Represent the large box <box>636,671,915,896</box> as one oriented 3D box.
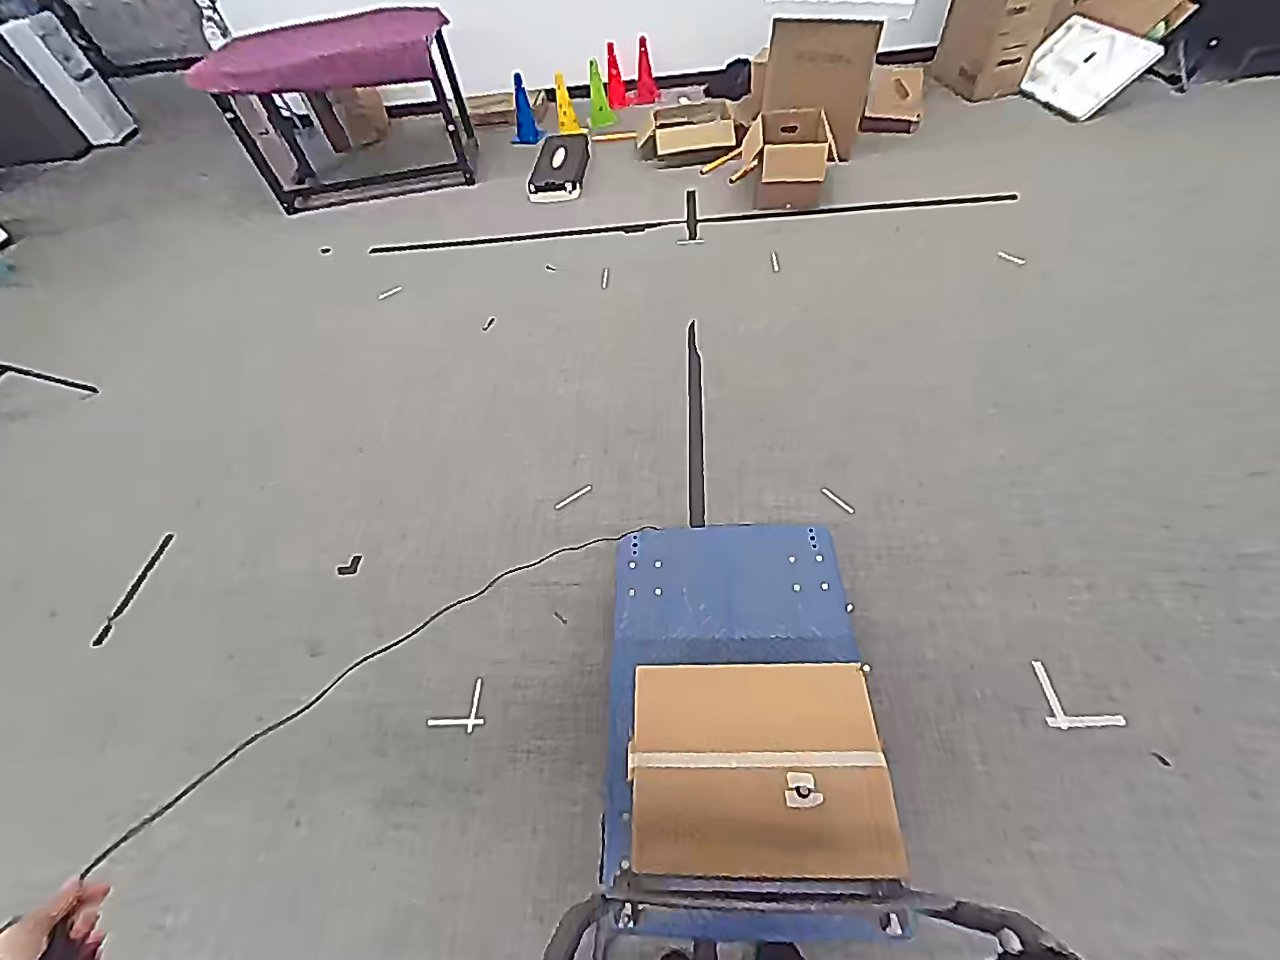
[{"bbox_3d":[0.202,0.555,0.978,0.408,0.320,0.320,-2,53,4],"label":"large box"}]
